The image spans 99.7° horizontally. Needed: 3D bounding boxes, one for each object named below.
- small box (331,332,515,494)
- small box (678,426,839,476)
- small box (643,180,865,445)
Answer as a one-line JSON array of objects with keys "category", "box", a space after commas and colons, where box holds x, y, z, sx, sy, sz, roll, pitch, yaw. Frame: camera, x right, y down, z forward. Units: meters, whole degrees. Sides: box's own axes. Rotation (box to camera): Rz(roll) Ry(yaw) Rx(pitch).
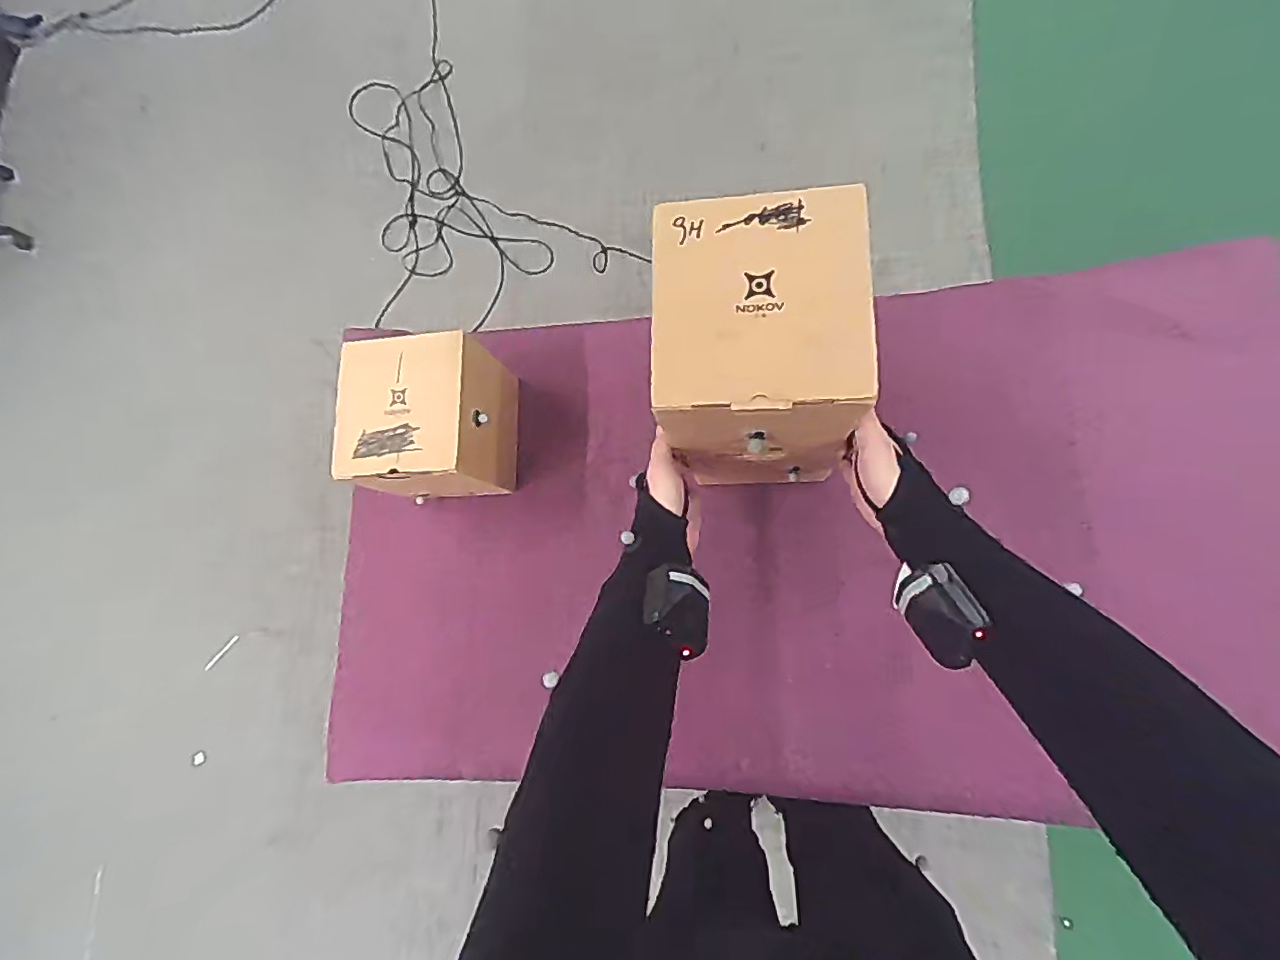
[{"category": "small box", "box": [-0.277, -0.076, 0.725, 0.168, 0.176, 0.179, -3, 79, 11]}, {"category": "small box", "box": [0.137, -0.100, 0.646, 0.168, 0.176, 0.179, -1, 80, 10]}, {"category": "small box", "box": [0.099, -0.129, 0.490, 0.168, 0.176, 0.179, -1, 81, 10]}]
